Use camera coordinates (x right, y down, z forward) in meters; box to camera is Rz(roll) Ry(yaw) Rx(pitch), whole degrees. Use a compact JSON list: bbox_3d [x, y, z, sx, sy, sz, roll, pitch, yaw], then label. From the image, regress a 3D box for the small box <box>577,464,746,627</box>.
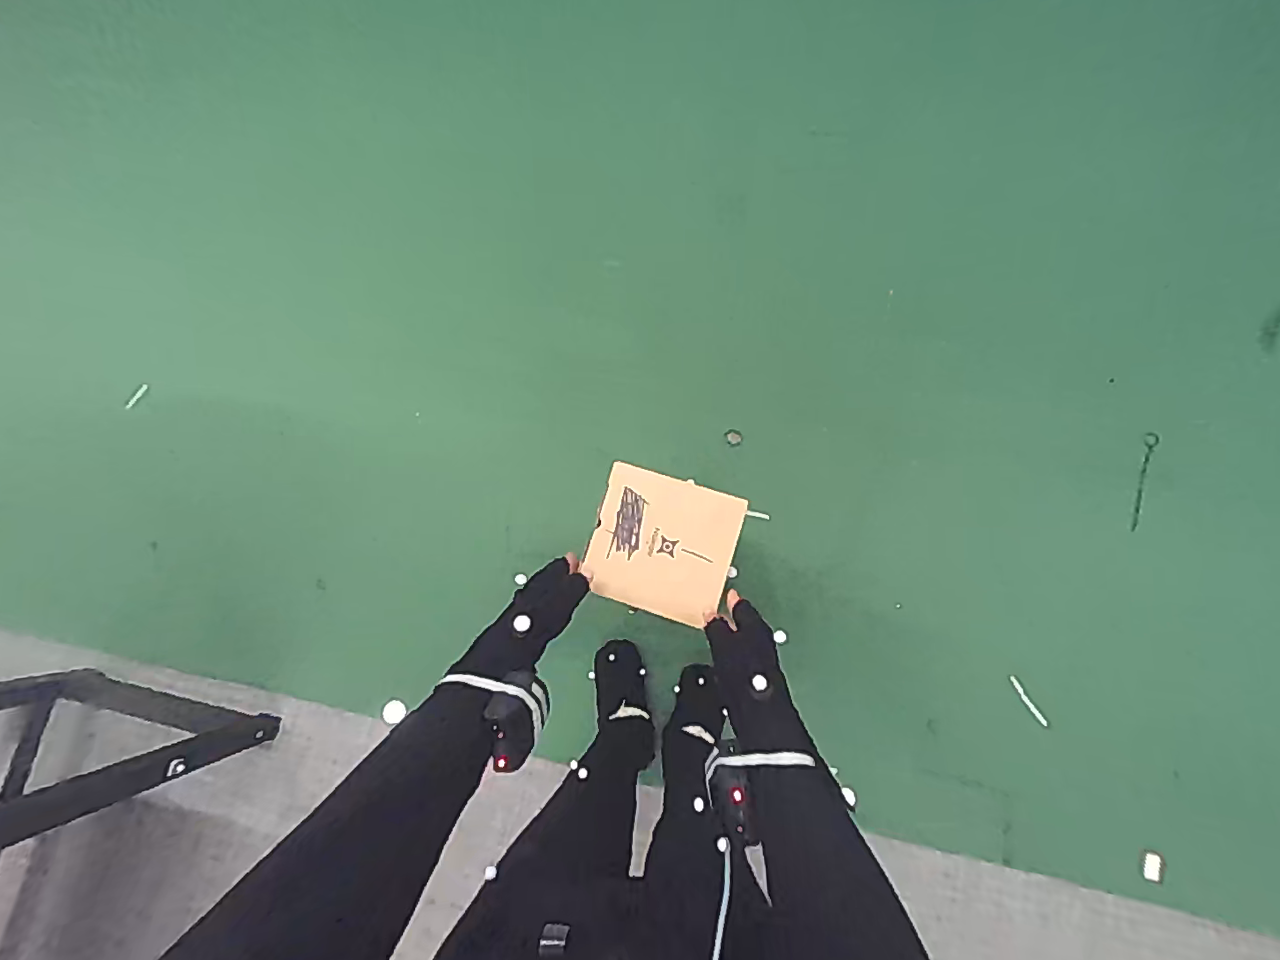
[{"bbox_3d":[0.035,0.091,0.735,0.179,0.176,0.168,14,82,9],"label":"small box"}]
